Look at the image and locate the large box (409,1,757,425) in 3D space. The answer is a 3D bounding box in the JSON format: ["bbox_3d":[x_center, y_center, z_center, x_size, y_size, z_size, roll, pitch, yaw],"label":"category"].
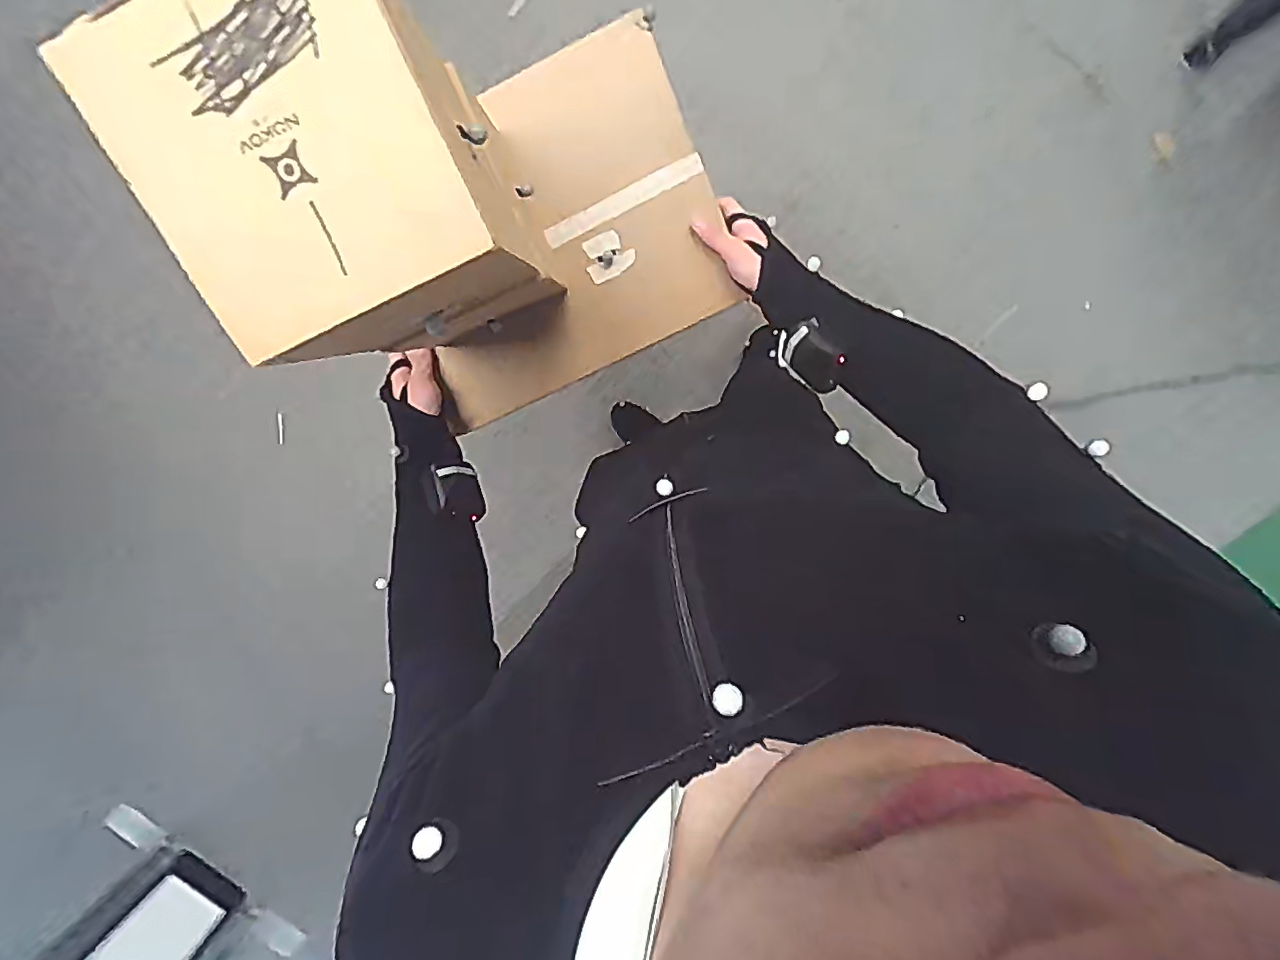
[{"bbox_3d":[-0.109,-0.319,0.755,0.408,0.320,0.320,-24,106,5],"label":"large box"}]

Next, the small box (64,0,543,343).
[{"bbox_3d":[-0.181,-0.205,0.360,0.168,0.176,0.179,-23,106,5],"label":"small box"}]

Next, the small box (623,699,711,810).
[{"bbox_3d":[0.076,0.741,1.476,0.179,0.176,0.168,-36,95,7],"label":"small box"}]
